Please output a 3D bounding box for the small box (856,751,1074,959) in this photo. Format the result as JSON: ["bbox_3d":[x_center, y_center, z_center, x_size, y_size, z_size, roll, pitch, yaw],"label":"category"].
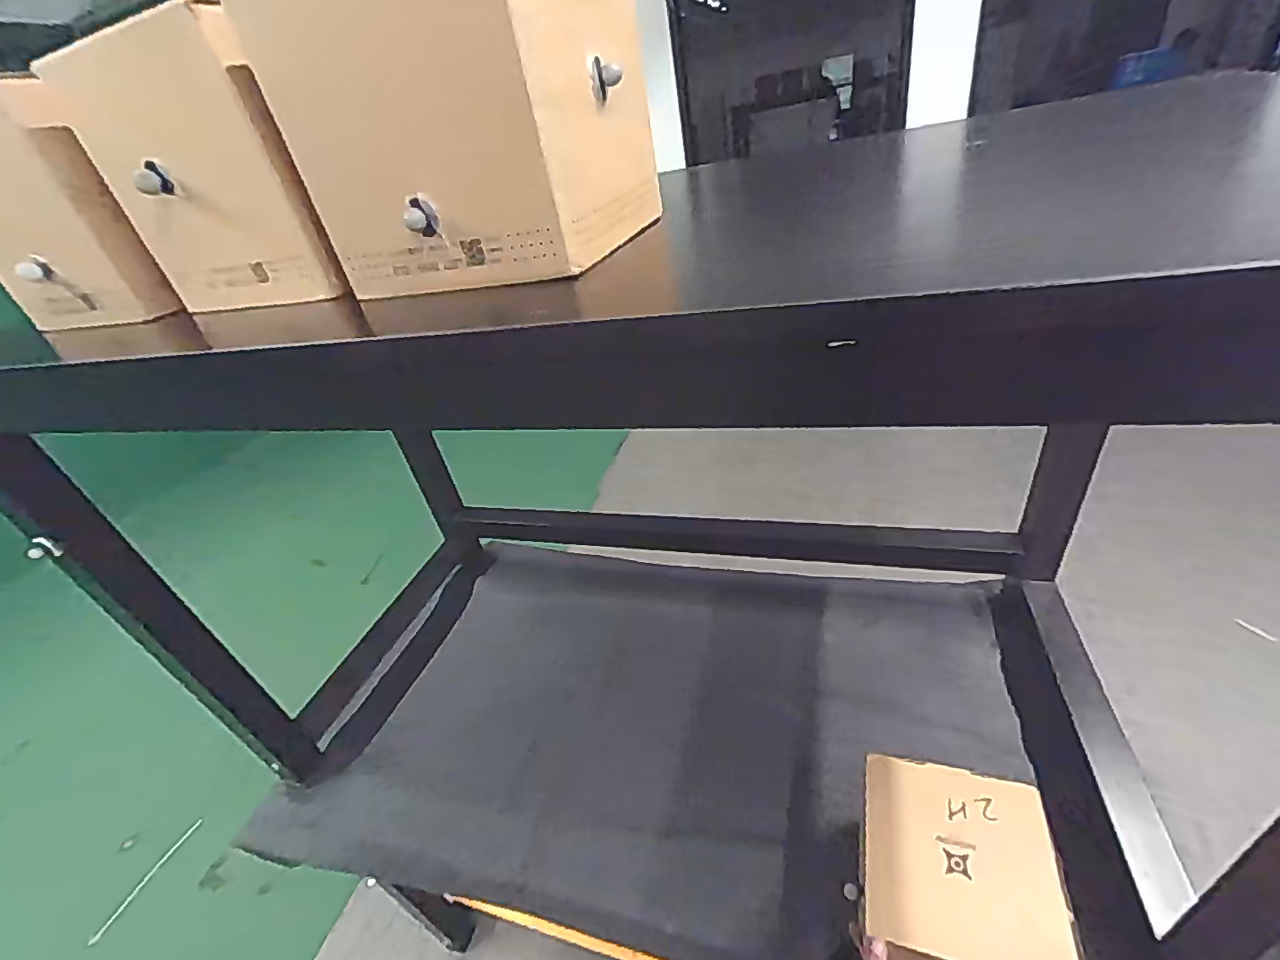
[{"bbox_3d":[0.322,0.427,0.568,0.168,0.176,0.179,3,36,21],"label":"small box"}]

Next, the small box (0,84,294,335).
[{"bbox_3d":[-0.462,-0.244,0.496,0.168,0.176,0.179,2,37,21],"label":"small box"}]
